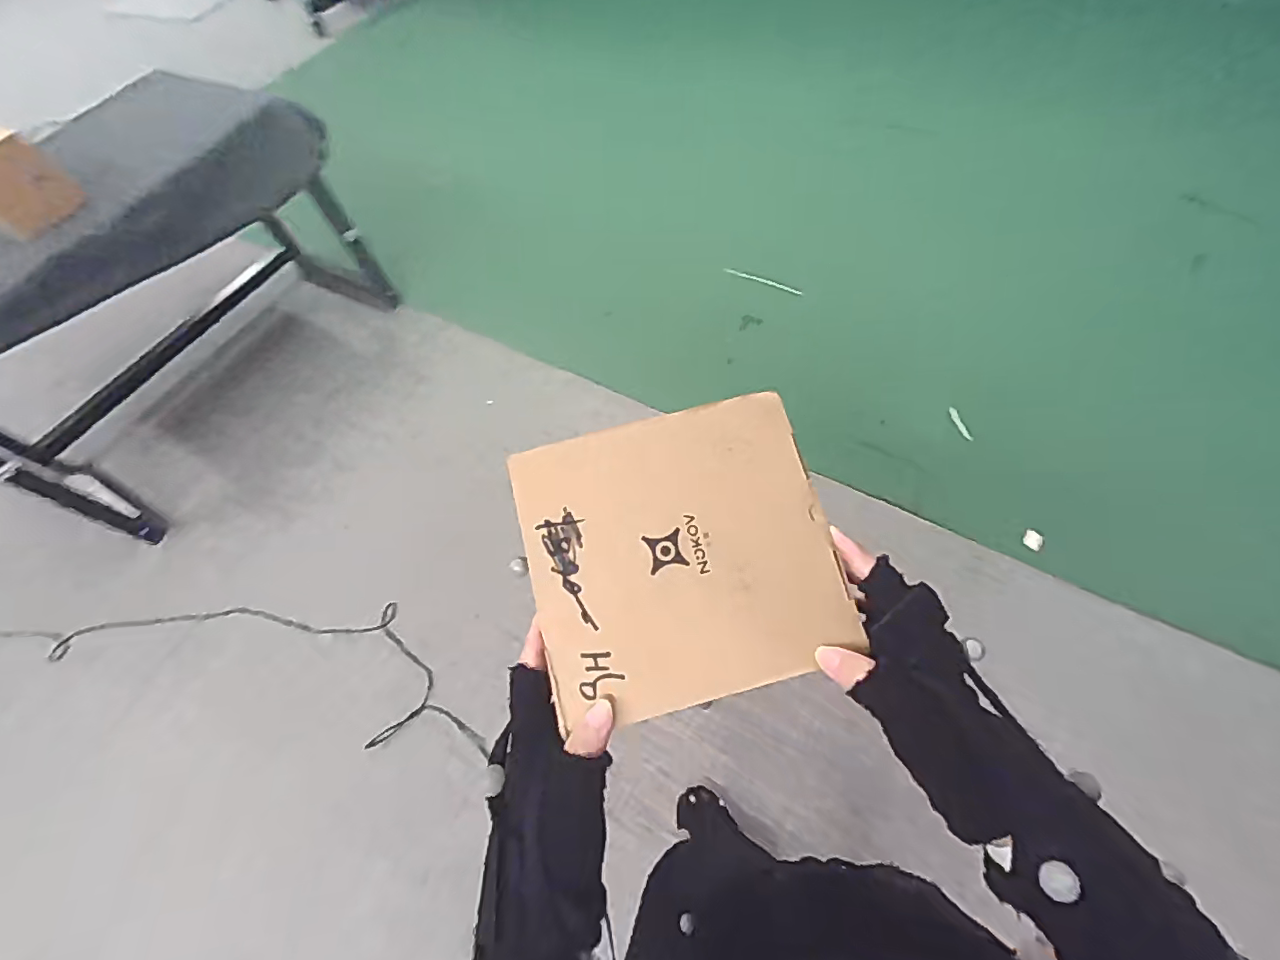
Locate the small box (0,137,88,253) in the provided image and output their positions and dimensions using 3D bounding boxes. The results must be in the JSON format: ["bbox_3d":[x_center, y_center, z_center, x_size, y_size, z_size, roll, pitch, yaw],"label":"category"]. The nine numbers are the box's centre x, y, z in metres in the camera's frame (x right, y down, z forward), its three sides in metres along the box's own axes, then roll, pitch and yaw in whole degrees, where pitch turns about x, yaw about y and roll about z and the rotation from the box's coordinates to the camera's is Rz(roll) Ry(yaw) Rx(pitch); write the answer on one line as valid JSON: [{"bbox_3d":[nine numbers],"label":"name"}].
[{"bbox_3d":[-1.485,-0.677,1.285,0.168,0.176,0.179,23,67,21],"label":"small box"}]
